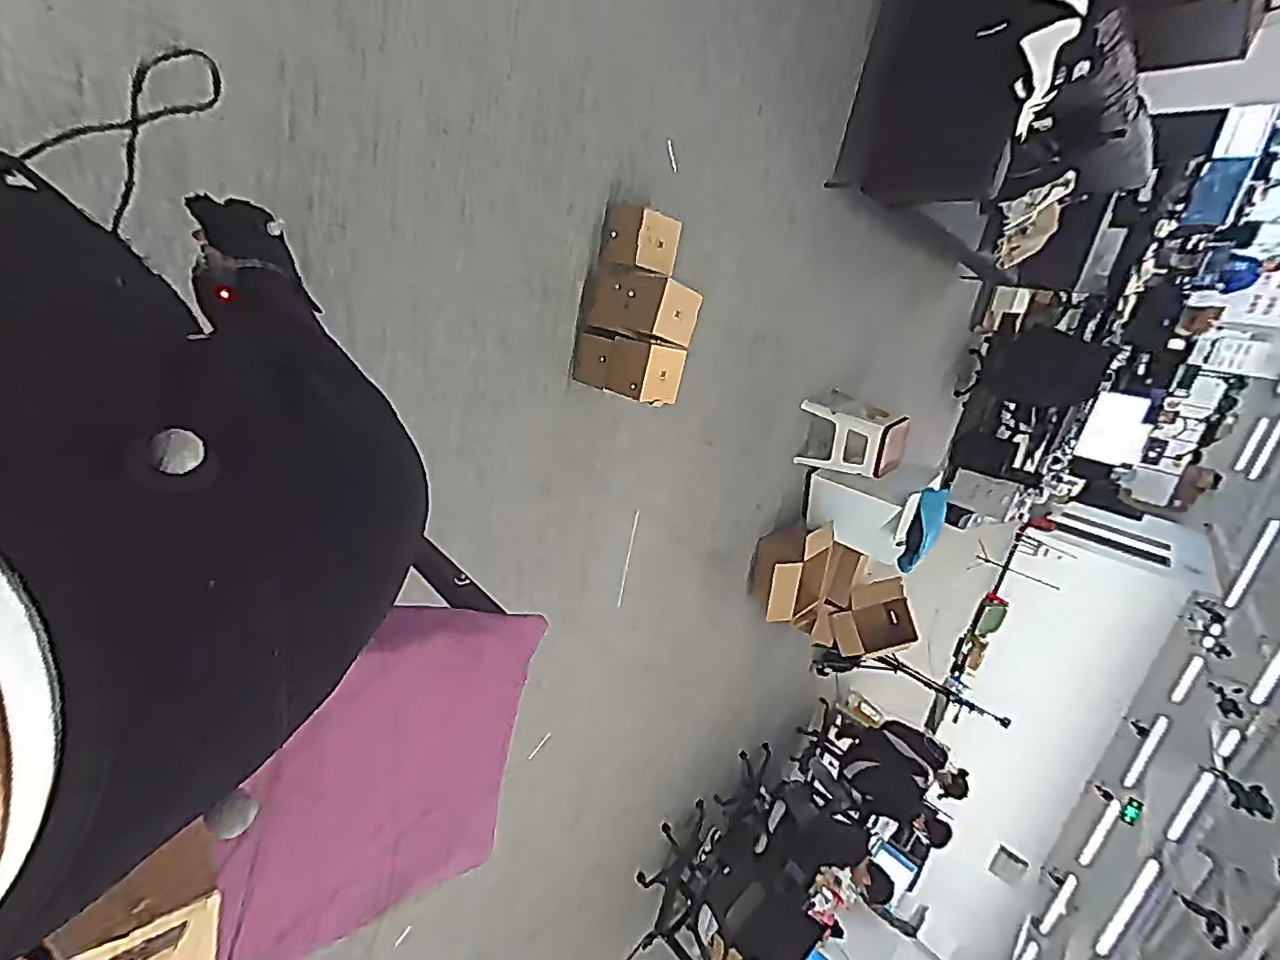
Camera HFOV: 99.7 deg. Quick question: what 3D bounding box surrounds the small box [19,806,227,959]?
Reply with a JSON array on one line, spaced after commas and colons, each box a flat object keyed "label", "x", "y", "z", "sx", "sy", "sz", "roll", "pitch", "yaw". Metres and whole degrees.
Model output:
[{"label": "small box", "x": -0.616, "y": 0.532, "z": 0.646, "sx": 0.168, "sy": 0.176, "sz": 0.179, "roll": 0, "pitch": 110, "yaw": -46}]
